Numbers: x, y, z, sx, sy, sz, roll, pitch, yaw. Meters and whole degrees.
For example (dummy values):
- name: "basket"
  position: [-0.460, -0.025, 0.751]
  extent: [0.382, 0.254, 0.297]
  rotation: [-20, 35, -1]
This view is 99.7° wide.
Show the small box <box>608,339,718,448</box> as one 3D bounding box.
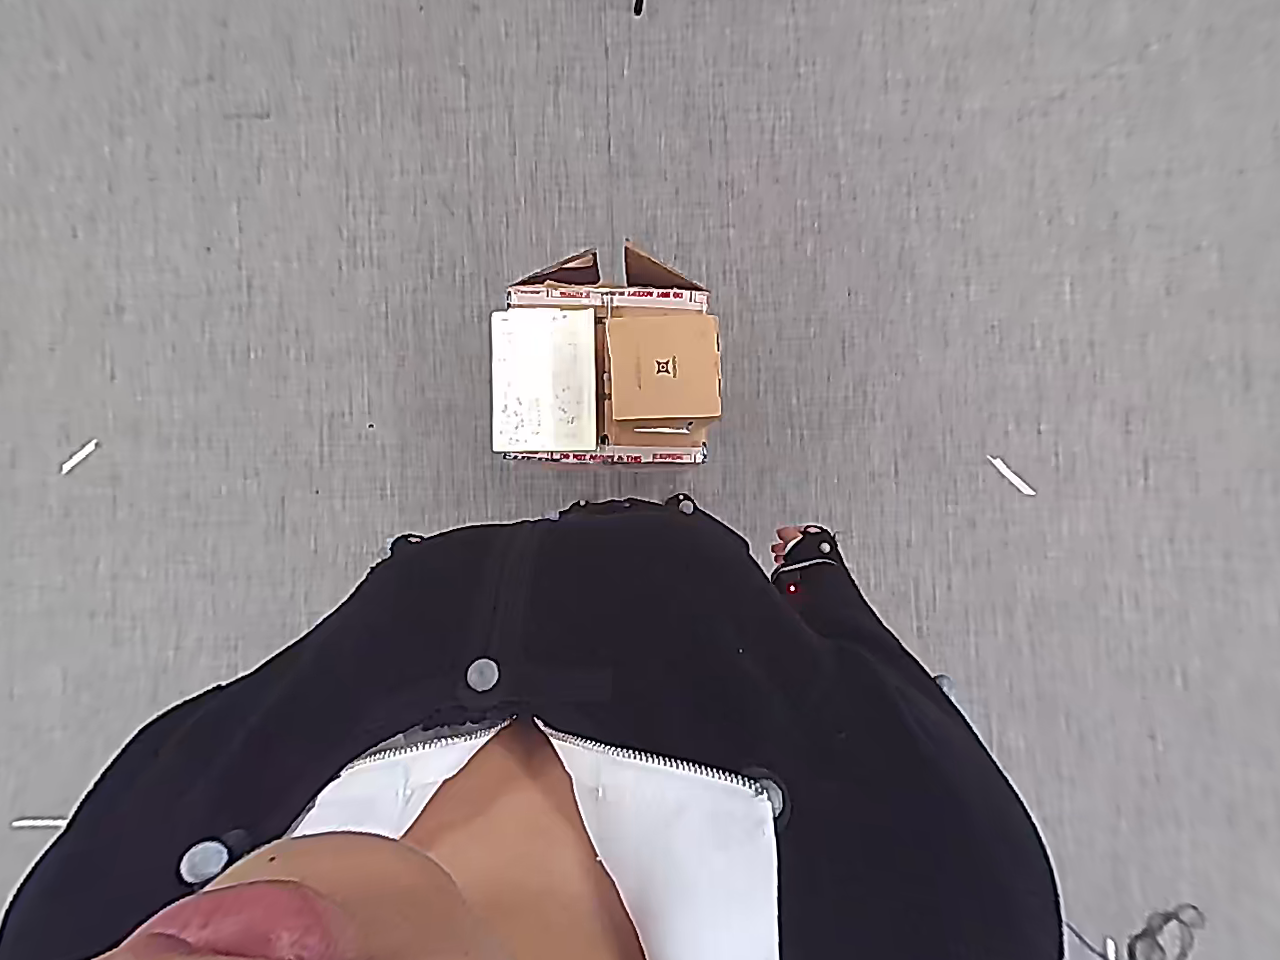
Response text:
- name: "small box"
  position: [0.035, -0.145, 0.954]
  extent: [0.179, 0.176, 0.168]
  rotation: [-3, 89, -1]
